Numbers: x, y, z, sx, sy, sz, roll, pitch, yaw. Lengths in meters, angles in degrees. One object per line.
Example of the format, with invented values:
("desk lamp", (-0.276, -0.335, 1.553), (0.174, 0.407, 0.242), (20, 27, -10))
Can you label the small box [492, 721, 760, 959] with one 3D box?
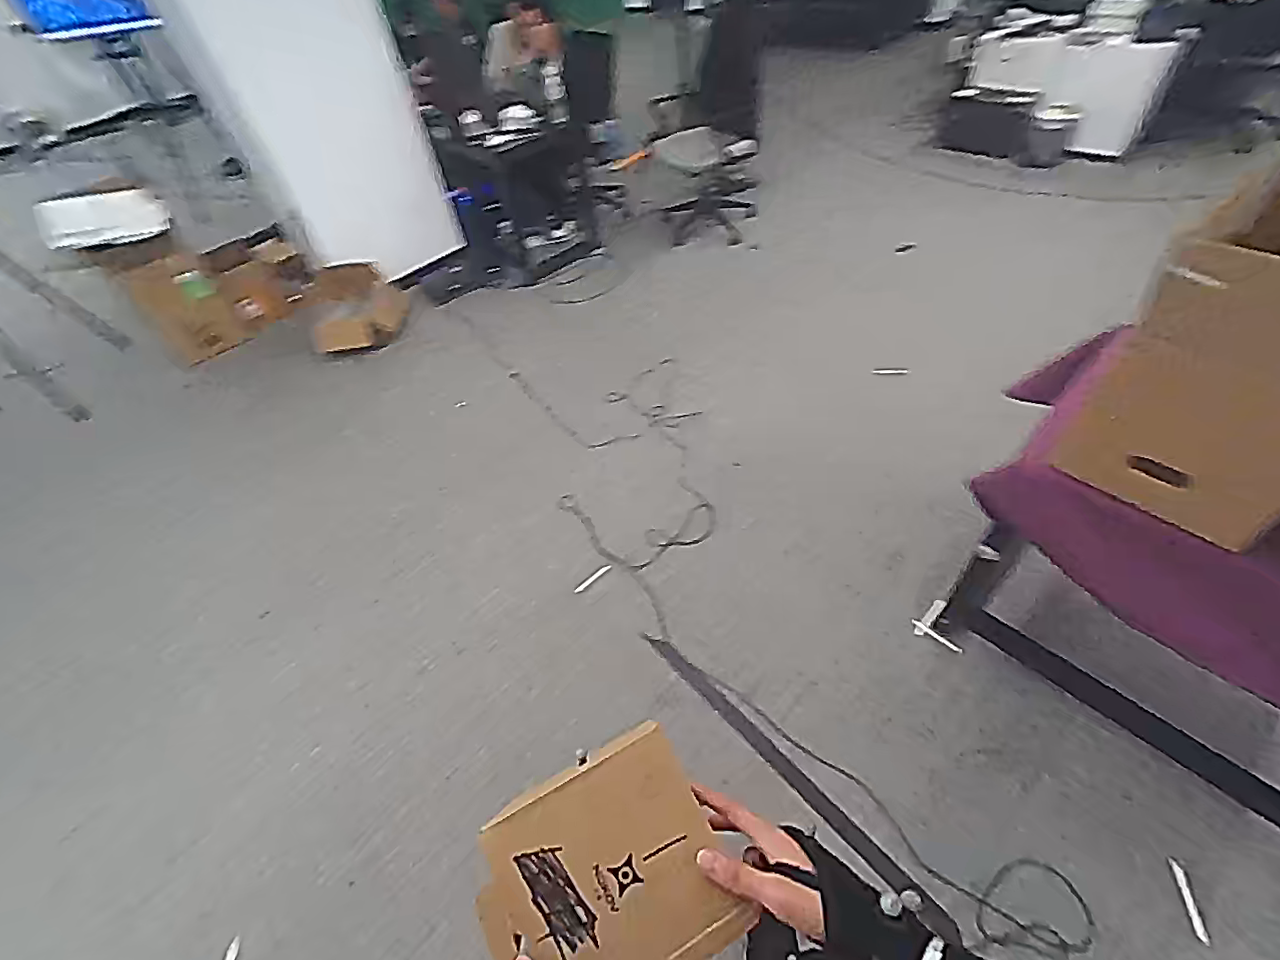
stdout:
("small box", (-0.016, 0.352, 0.519), (0.179, 0.176, 0.168), (-25, 71, -12))
